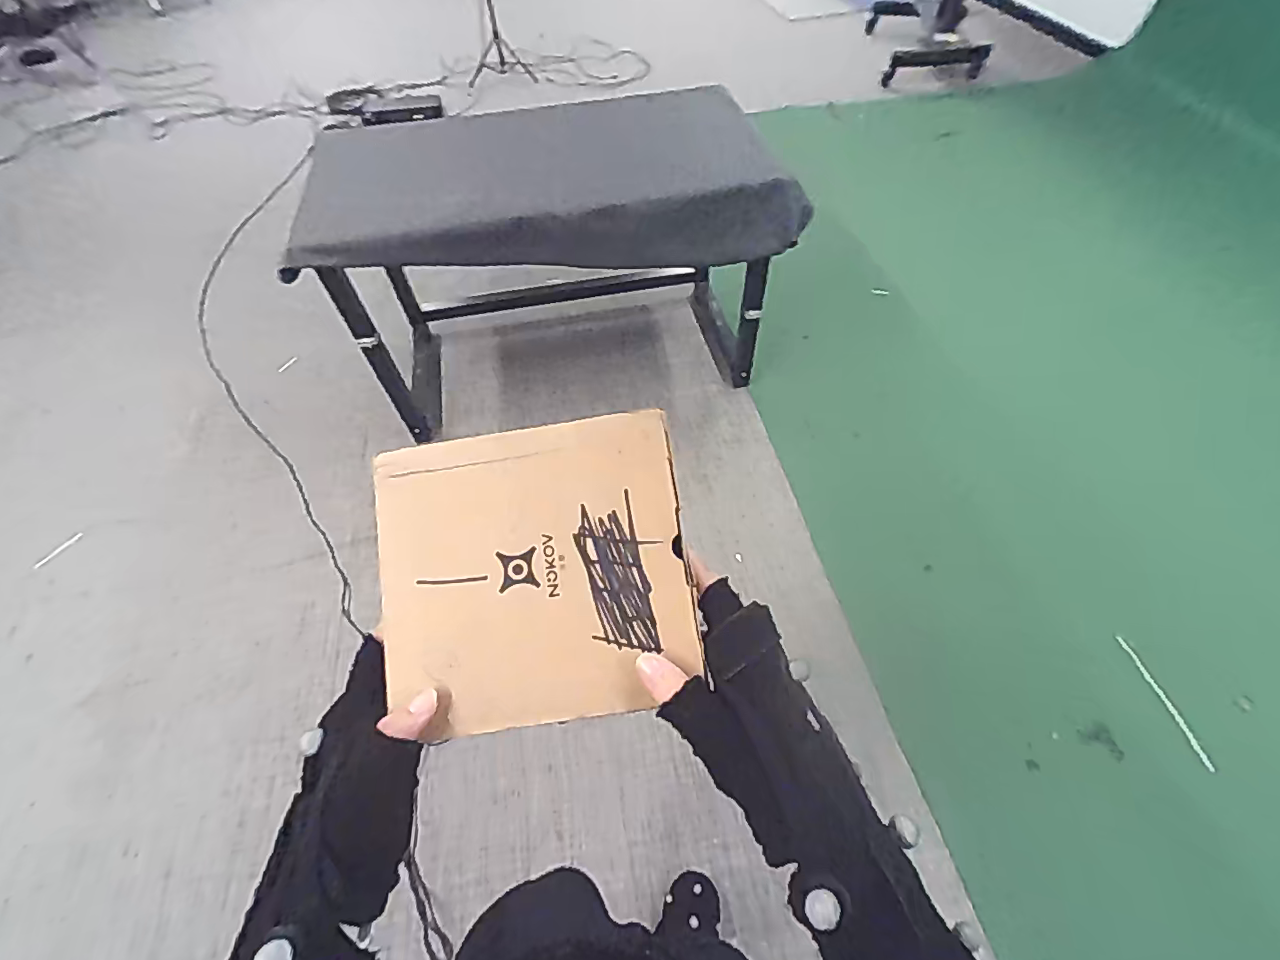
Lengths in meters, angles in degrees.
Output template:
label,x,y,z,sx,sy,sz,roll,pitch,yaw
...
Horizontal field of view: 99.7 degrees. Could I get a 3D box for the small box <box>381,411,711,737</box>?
label,x,y,z,sx,sy,sz,roll,pitch,yaw
small box,-0.055,0.063,0.386,0.179,0.176,0.168,-9,79,1
